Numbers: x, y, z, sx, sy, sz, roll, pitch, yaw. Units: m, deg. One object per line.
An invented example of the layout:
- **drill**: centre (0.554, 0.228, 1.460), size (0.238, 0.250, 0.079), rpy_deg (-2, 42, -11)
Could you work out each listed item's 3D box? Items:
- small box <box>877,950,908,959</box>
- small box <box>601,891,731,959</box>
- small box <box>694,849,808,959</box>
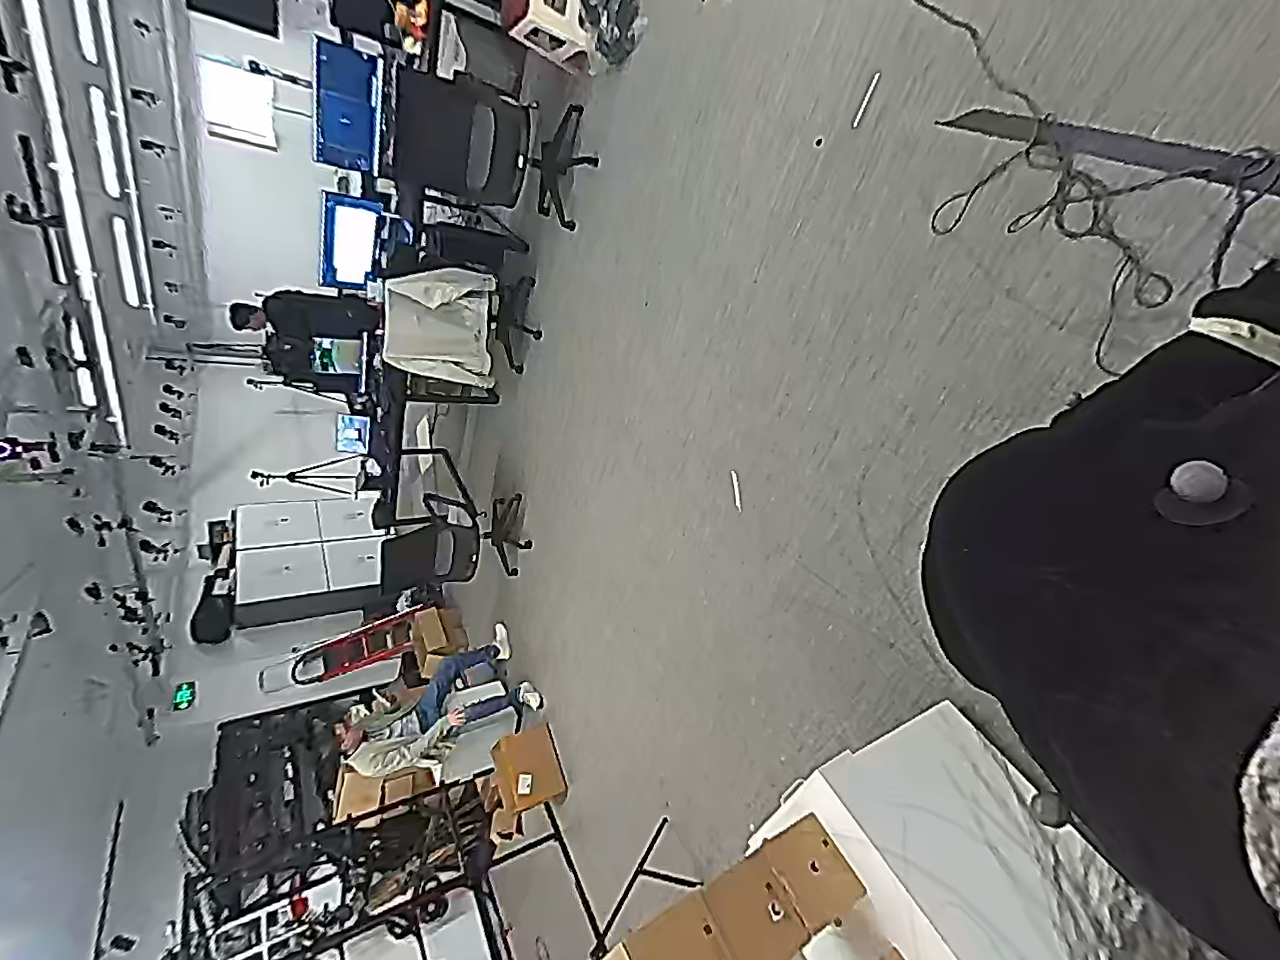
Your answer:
- **small box**: centre (0.440, 1.011, 0.976), size (0.168, 0.176, 0.179), rpy_deg (49, 131, 41)
- **small box**: centre (0.054, 0.867, 0.944), size (0.168, 0.176, 0.179), rpy_deg (52, 135, 37)
- **small box**: centre (0.188, 0.858, 1.038), size (0.168, 0.176, 0.179), rpy_deg (51, 132, 37)
